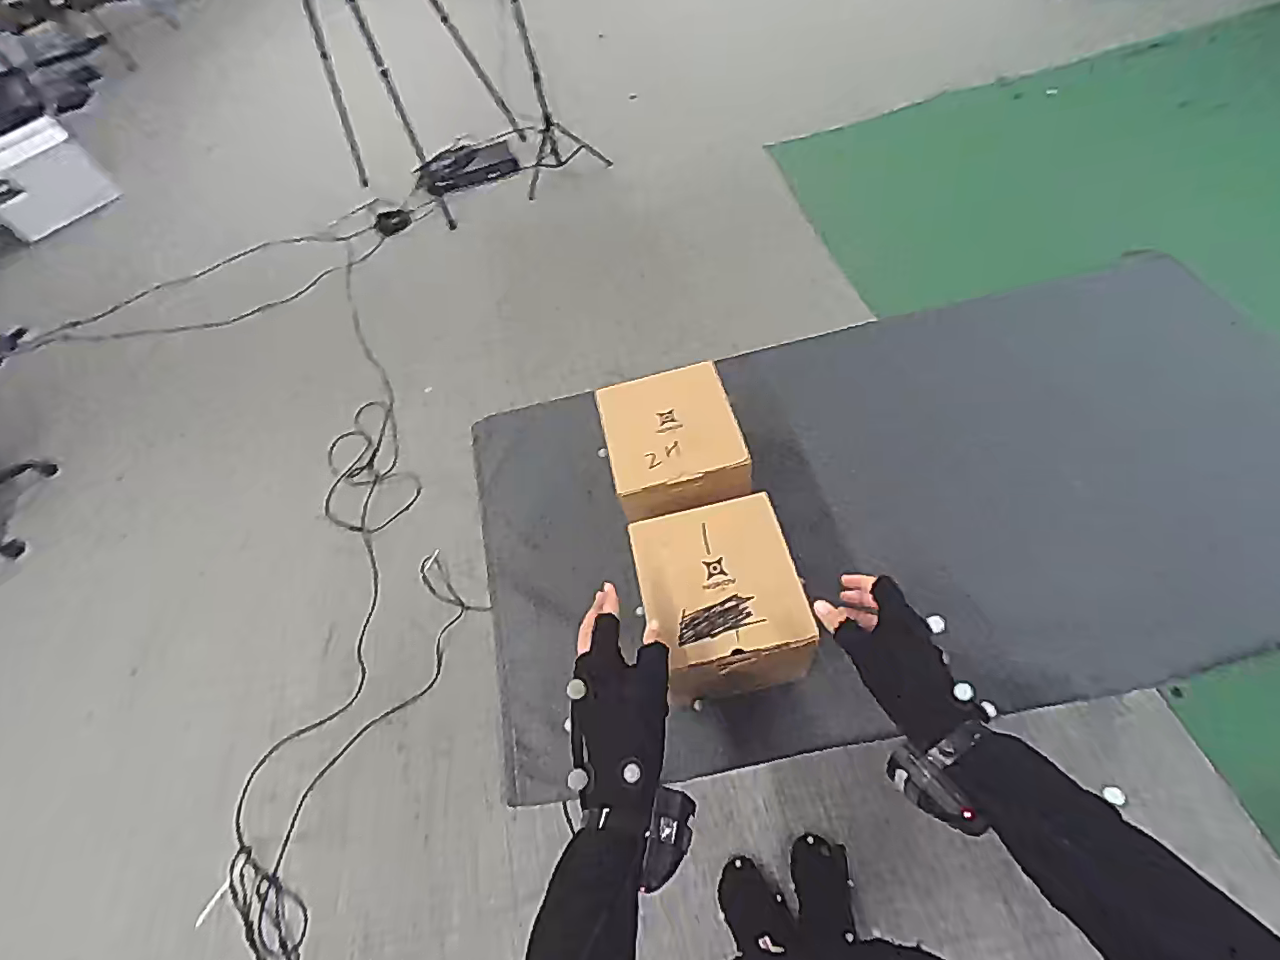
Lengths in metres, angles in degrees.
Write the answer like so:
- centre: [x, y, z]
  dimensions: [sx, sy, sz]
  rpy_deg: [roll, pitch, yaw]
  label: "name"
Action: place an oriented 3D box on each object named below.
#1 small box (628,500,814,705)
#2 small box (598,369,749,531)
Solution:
- centre: [0.091, 0.153, 0.639]
  dimensions: [0.168, 0.176, 0.179]
  rpy_deg: [-13, 55, 1]
  label: "small box"
- centre: [0.046, -0.021, 0.759]
  dimensions: [0.168, 0.176, 0.179]
  rpy_deg: [-14, 57, 1]
  label: "small box"
